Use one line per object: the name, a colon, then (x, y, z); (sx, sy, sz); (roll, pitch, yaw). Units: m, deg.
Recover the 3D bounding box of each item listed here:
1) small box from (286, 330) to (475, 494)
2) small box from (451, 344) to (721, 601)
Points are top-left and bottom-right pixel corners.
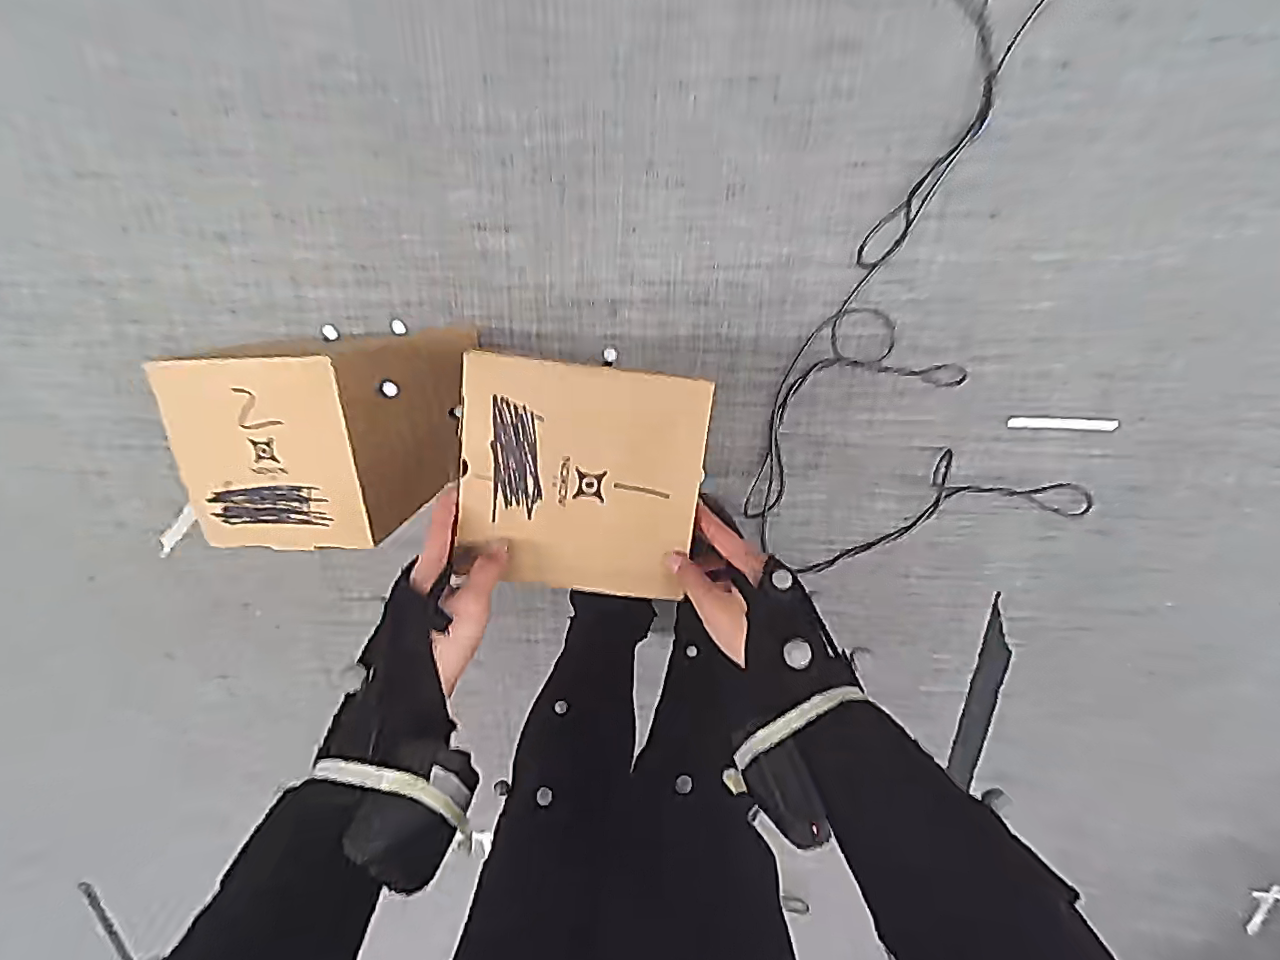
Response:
small box: (-0.302, -0.097, 0.700); (0.168, 0.176, 0.179); (-5, 110, 6)
small box: (-0.040, -0.016, 0.455); (0.179, 0.176, 0.168); (6, 102, -2)
